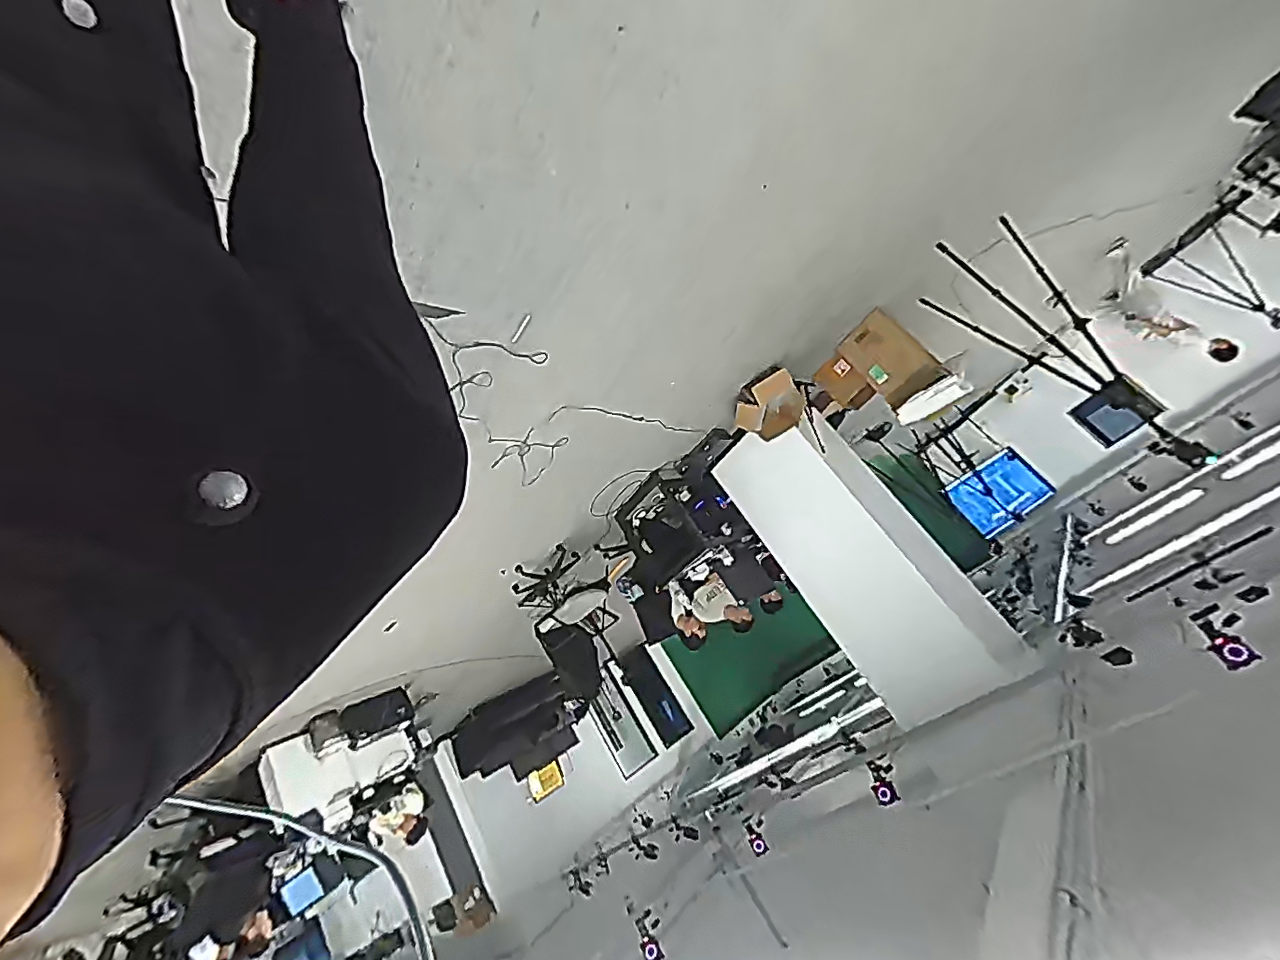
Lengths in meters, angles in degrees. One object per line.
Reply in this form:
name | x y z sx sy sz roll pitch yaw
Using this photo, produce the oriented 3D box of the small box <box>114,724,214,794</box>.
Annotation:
small box | -1.293 0.703 1.468 0.179 0.176 0.168 -9 146 -49
